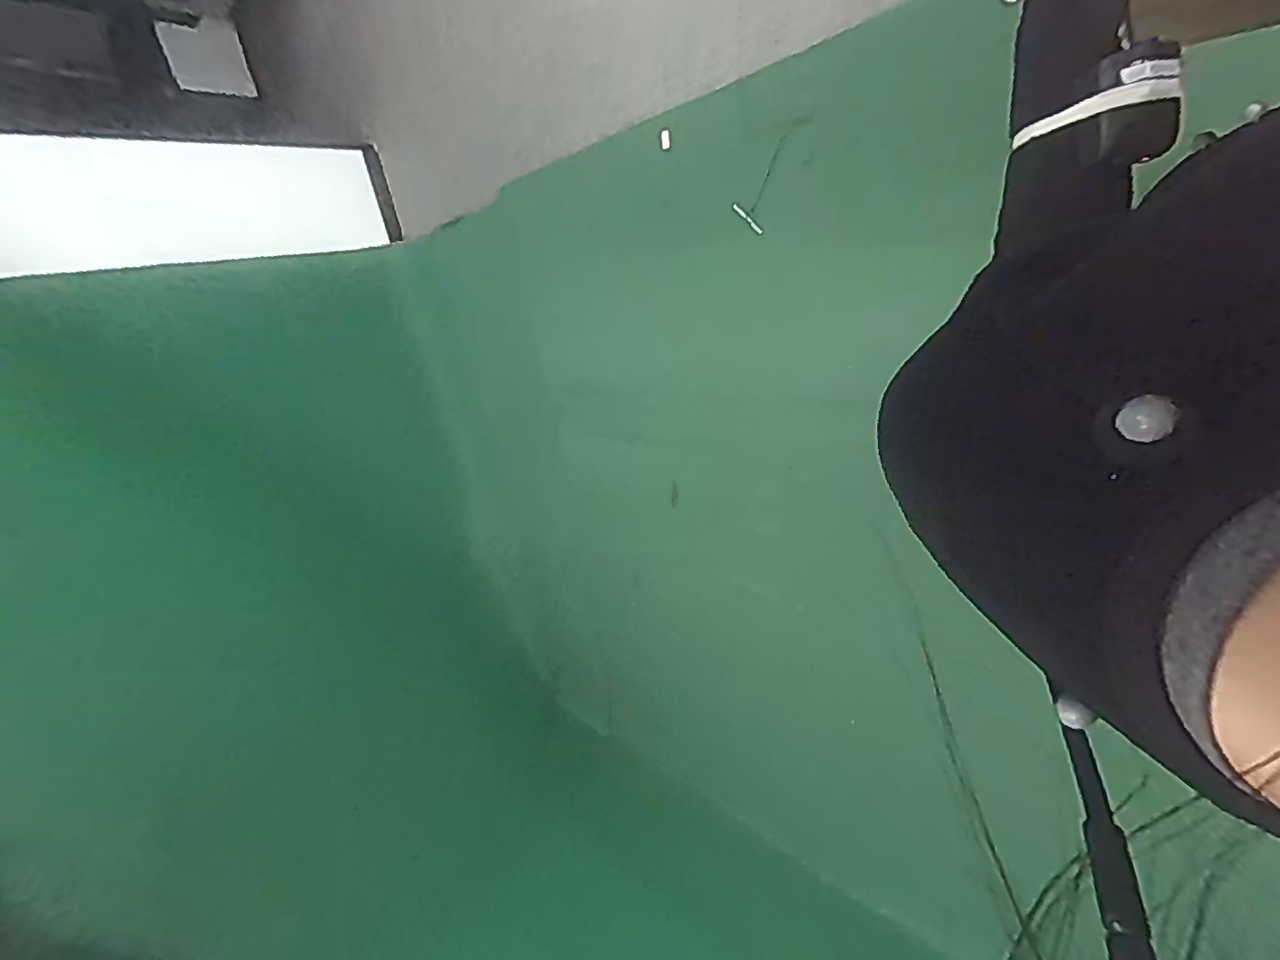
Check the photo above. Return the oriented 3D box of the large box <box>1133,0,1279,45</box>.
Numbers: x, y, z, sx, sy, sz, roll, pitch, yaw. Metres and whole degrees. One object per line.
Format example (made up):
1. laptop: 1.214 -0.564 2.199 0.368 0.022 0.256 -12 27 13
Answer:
1. large box: 0.549 -0.487 0.269 0.408 0.320 0.320 13 120 39
